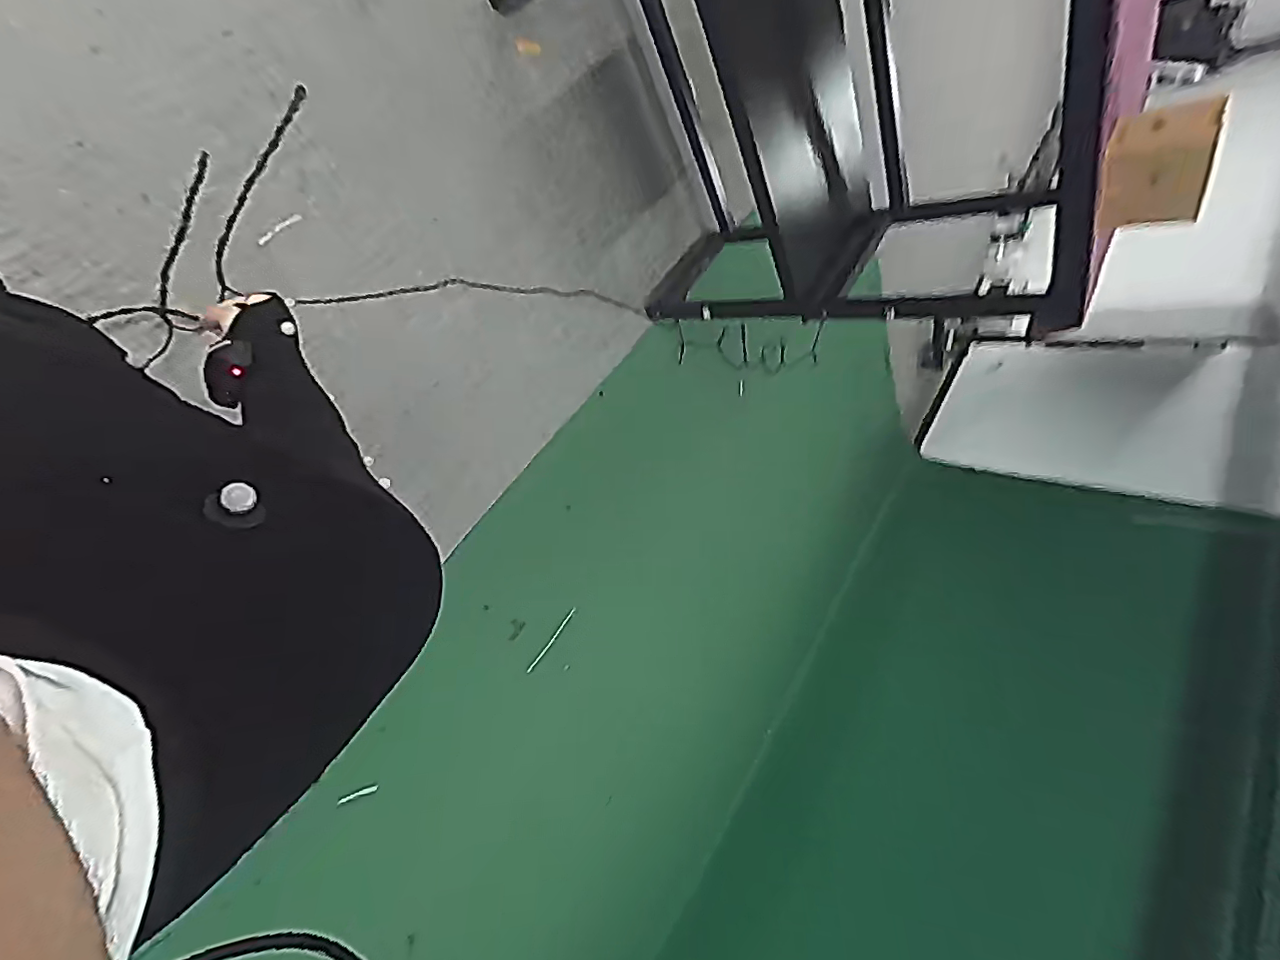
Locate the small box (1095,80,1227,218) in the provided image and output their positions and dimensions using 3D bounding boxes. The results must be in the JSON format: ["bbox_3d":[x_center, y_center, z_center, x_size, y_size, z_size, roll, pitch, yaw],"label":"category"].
[{"bbox_3d":[1.075,-0.677,1.127,0.168,0.176,0.179,-54,133,-21],"label":"small box"}]
